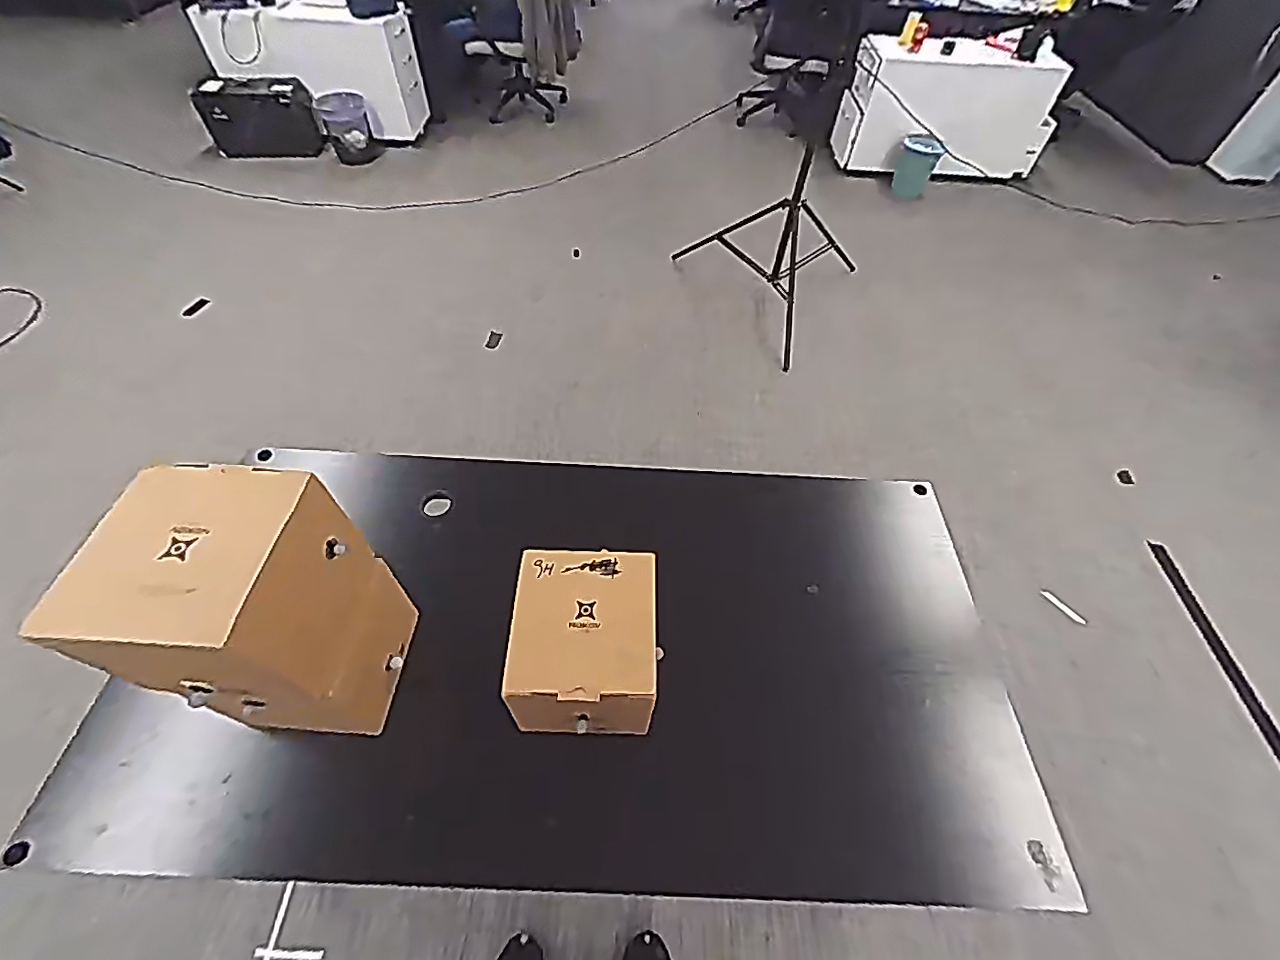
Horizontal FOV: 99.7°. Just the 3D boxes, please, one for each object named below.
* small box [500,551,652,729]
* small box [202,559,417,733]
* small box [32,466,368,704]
[{"bbox_3d":[-0.069,0.208,0.688,0.168,0.176,0.179,2,53,-1],"label":"small box"},{"bbox_3d":[-0.405,0.205,0.671,0.179,0.176,0.168,4,53,-1],"label":"small box"},{"bbox_3d":[-0.401,0.108,0.541,0.168,0.176,0.179,2,54,0],"label":"small box"}]
